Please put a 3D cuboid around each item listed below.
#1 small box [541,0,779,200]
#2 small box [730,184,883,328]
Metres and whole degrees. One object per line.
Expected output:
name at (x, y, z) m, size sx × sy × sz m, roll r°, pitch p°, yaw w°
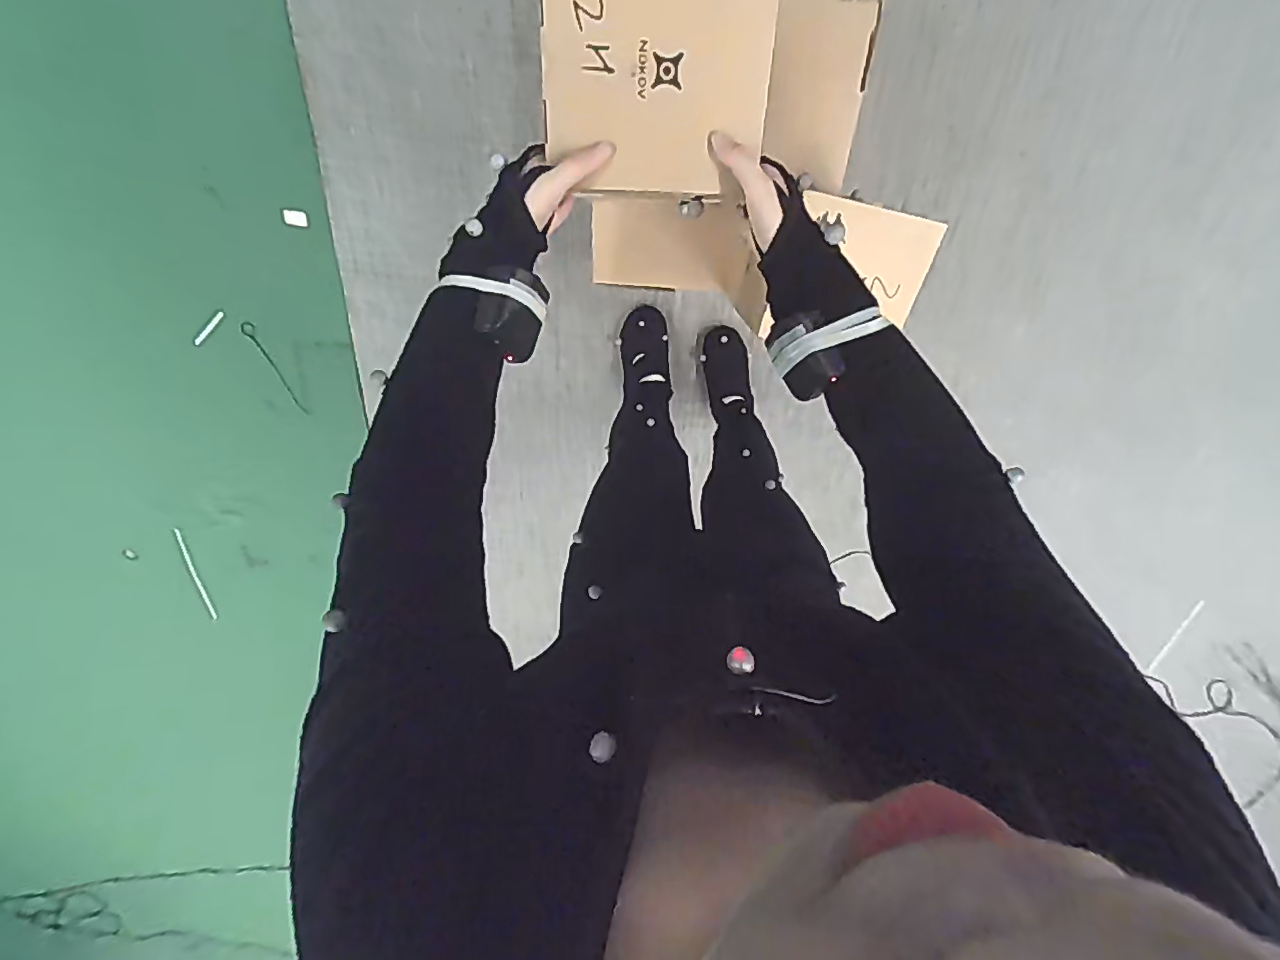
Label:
small box at (0.013, -0.347, 0.482) m, size 0.179 × 0.176 × 0.168 m, roll 3°, pitch 116°, yaw 0°
small box at (0.243, -0.352, 0.845) m, size 0.168 × 0.176 × 0.179 m, roll 6°, pitch 118°, yaw -3°
